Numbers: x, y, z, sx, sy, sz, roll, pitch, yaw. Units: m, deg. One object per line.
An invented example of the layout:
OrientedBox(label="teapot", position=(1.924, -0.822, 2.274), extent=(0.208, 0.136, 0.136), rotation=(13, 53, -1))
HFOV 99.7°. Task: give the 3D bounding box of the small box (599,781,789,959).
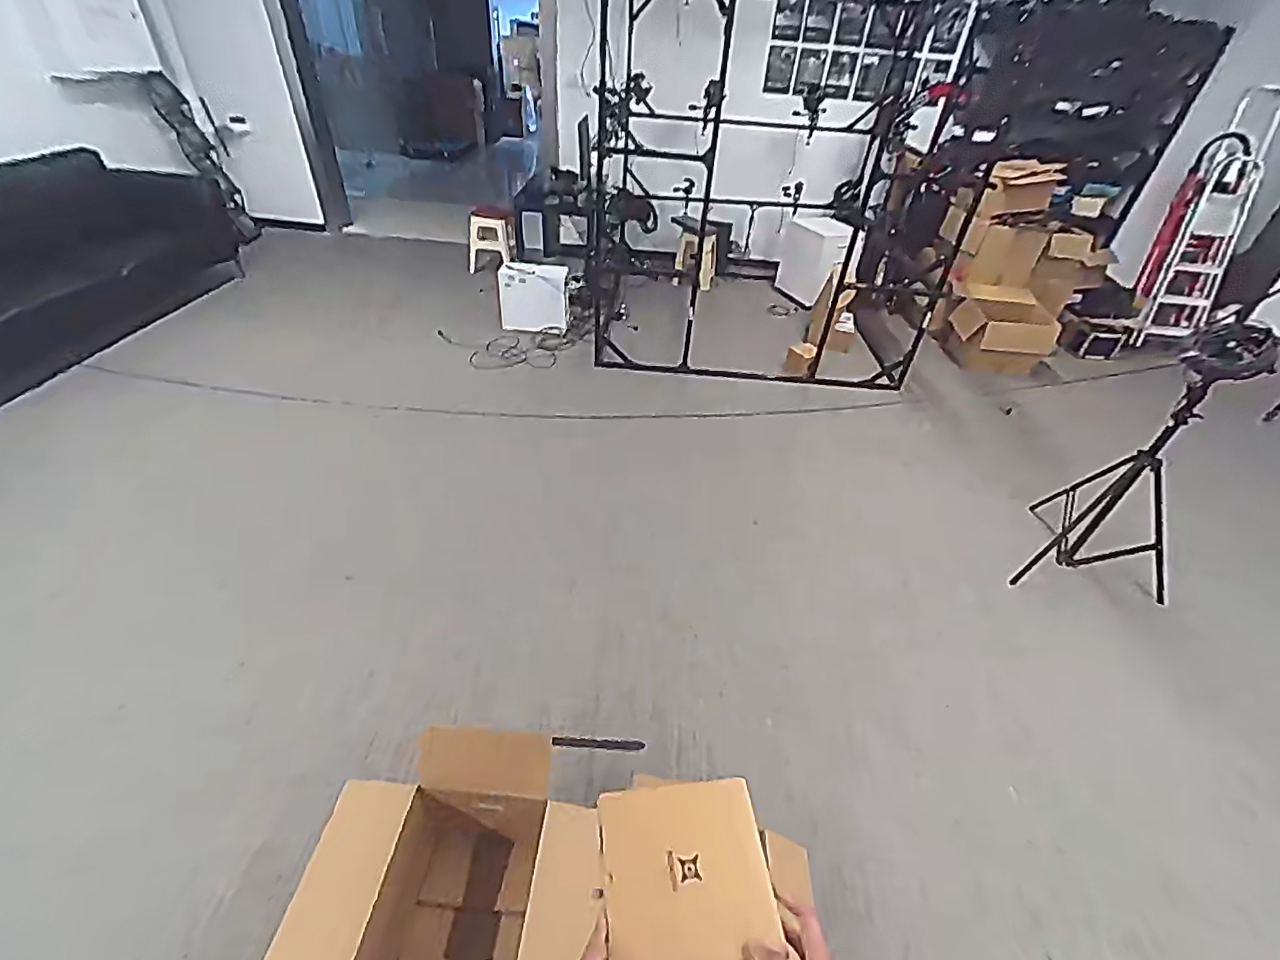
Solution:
OrientedBox(label="small box", position=(0.046, 0.470, 0.616), extent=(0.179, 0.176, 0.168), rotation=(-4, 41, -6))
